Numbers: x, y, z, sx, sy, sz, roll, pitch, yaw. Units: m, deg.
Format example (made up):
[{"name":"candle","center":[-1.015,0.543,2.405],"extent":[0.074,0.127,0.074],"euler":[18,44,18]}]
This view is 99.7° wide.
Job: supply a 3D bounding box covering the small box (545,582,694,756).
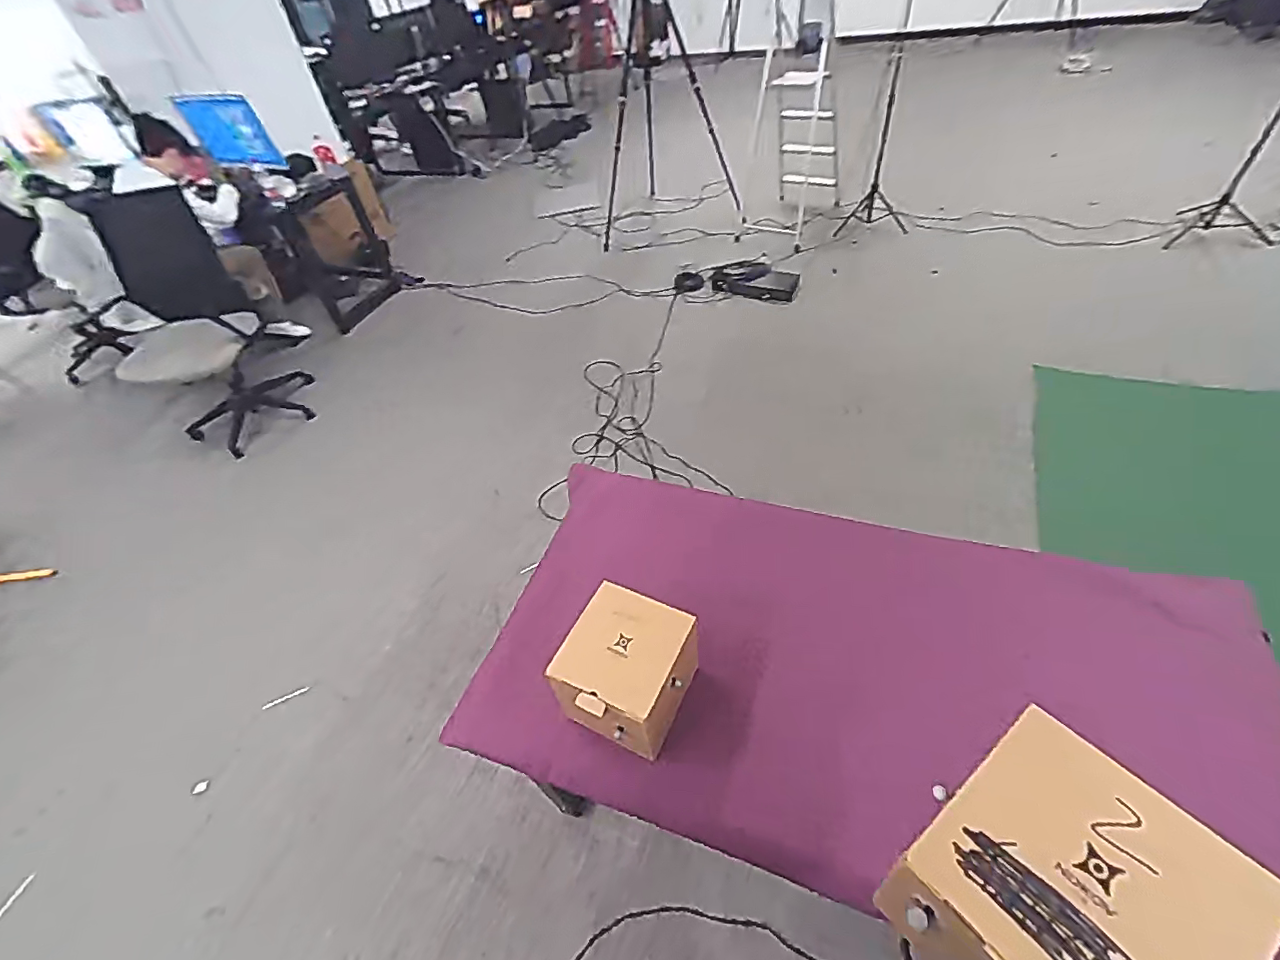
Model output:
[{"name":"small box","center":[-0.019,0.300,0.855],"extent":[0.168,0.176,0.179],"euler":[18,51,23]}]
